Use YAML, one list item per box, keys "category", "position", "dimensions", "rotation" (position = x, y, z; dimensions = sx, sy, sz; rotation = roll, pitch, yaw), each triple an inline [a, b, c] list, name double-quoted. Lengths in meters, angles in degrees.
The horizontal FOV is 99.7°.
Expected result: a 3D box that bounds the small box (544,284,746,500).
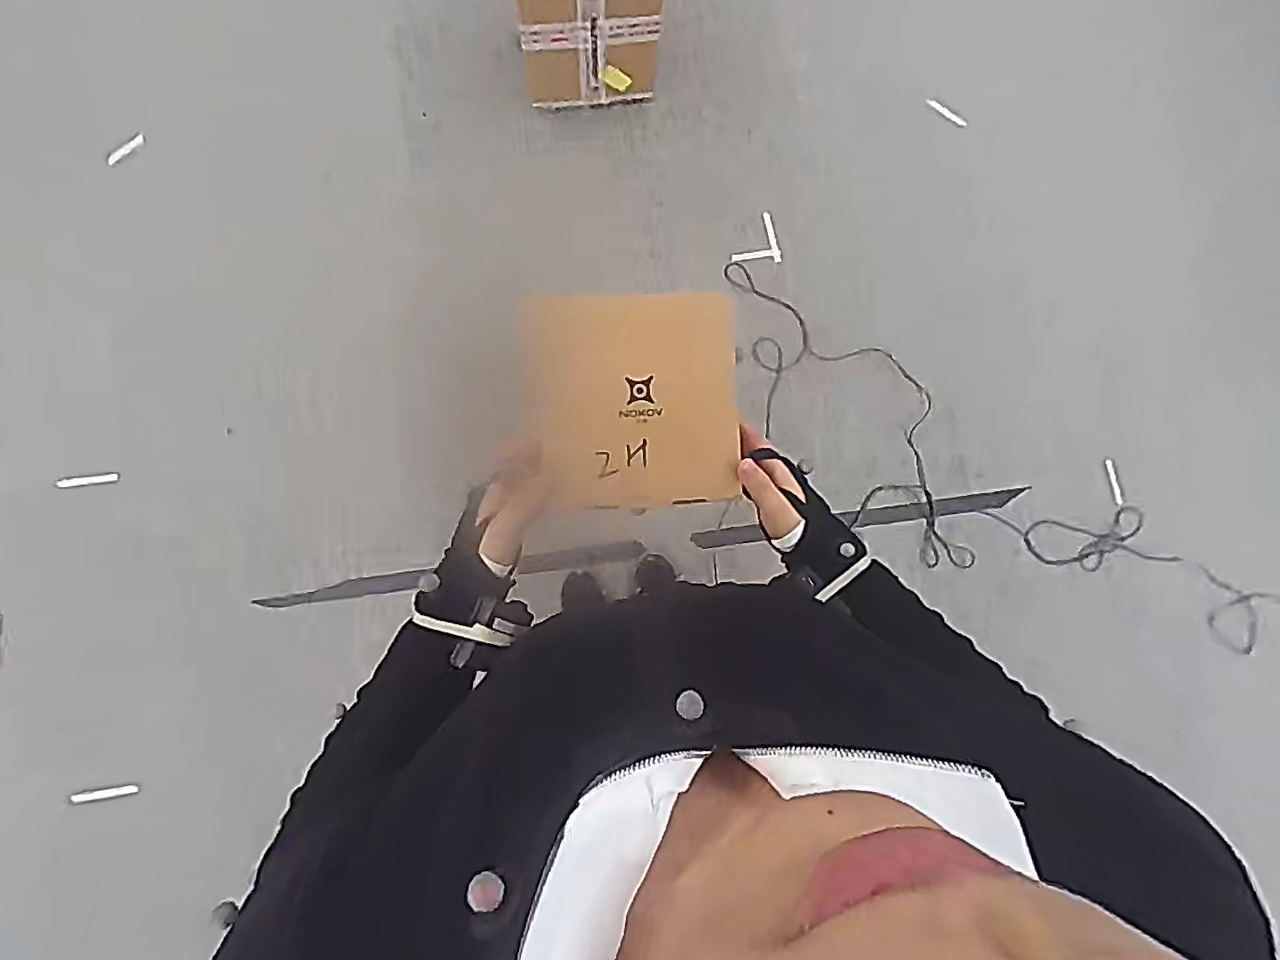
- category: "small box"
  position: [-0.001, -0.073, 0.523]
  dimensions: [0.168, 0.176, 0.179]
  rotation: [-3, 91, -3]
